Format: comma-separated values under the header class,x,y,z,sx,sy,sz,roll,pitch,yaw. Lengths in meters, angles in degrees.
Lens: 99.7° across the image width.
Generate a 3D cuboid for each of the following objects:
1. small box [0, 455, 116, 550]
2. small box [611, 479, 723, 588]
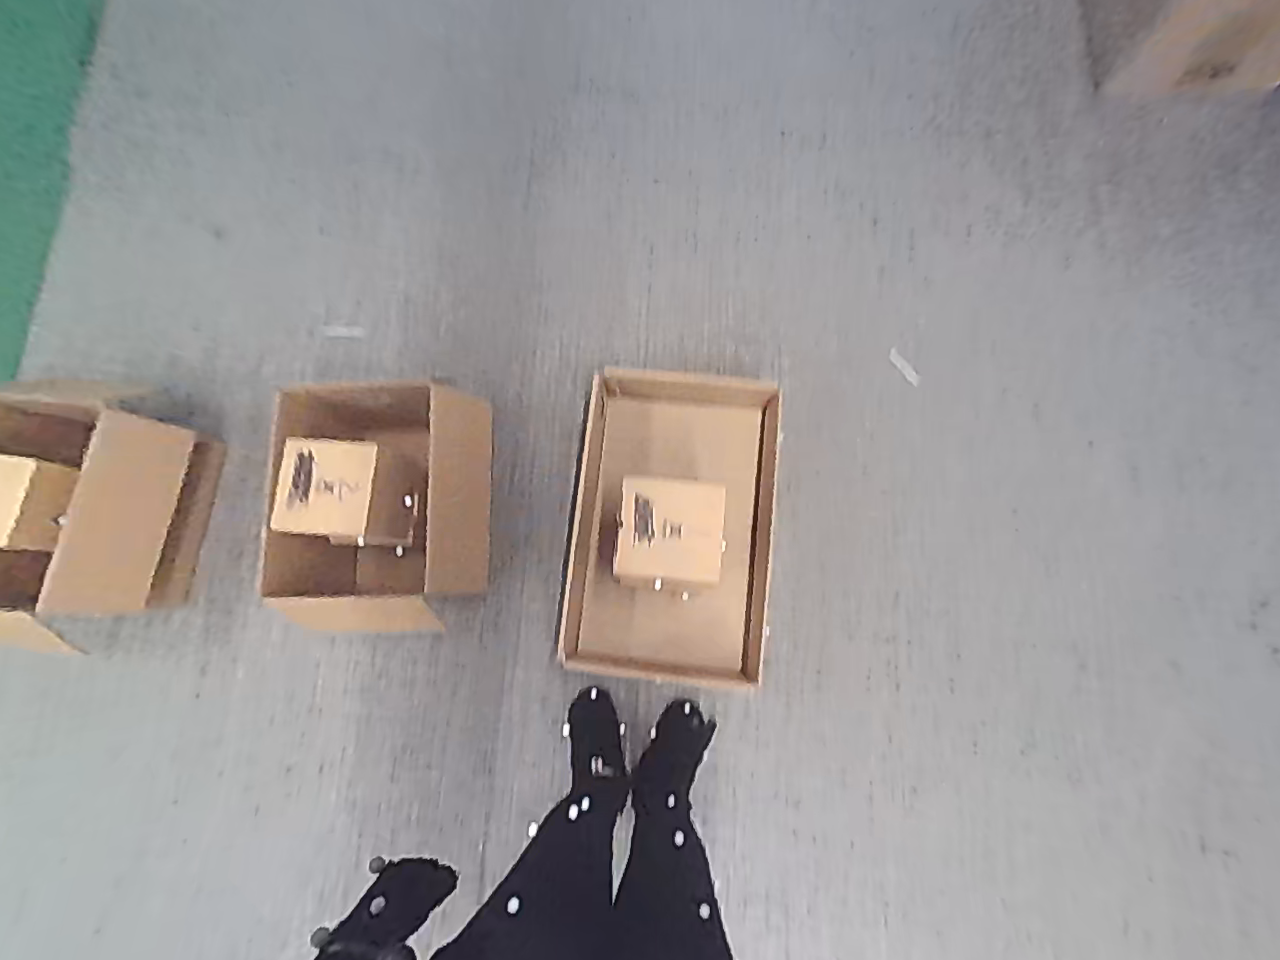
class,x,y,z,sx,sy,sz,roll,pitch,yaw
small box,-1.216,0.045,1.074,0.179,0.176,0.168,8,78,3
small box,0.048,0.104,0.981,0.179,0.176,0.168,6,77,2
